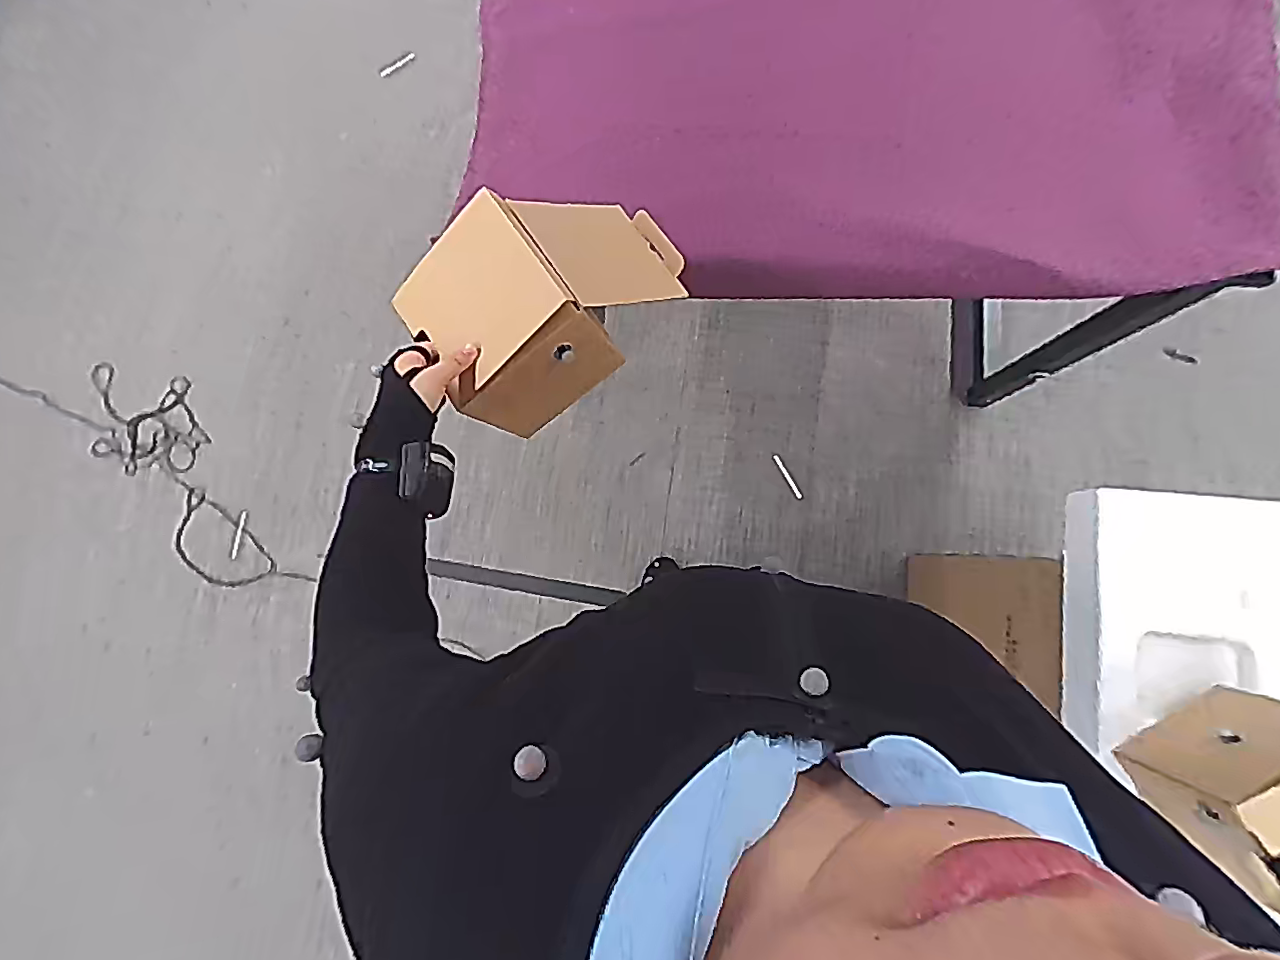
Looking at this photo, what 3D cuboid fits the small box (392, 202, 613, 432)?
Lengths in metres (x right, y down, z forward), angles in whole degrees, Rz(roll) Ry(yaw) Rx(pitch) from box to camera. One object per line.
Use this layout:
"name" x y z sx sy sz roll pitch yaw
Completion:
"small box" -0.151 -0.182 0.659 0.179 0.176 0.168 -37 75 9
